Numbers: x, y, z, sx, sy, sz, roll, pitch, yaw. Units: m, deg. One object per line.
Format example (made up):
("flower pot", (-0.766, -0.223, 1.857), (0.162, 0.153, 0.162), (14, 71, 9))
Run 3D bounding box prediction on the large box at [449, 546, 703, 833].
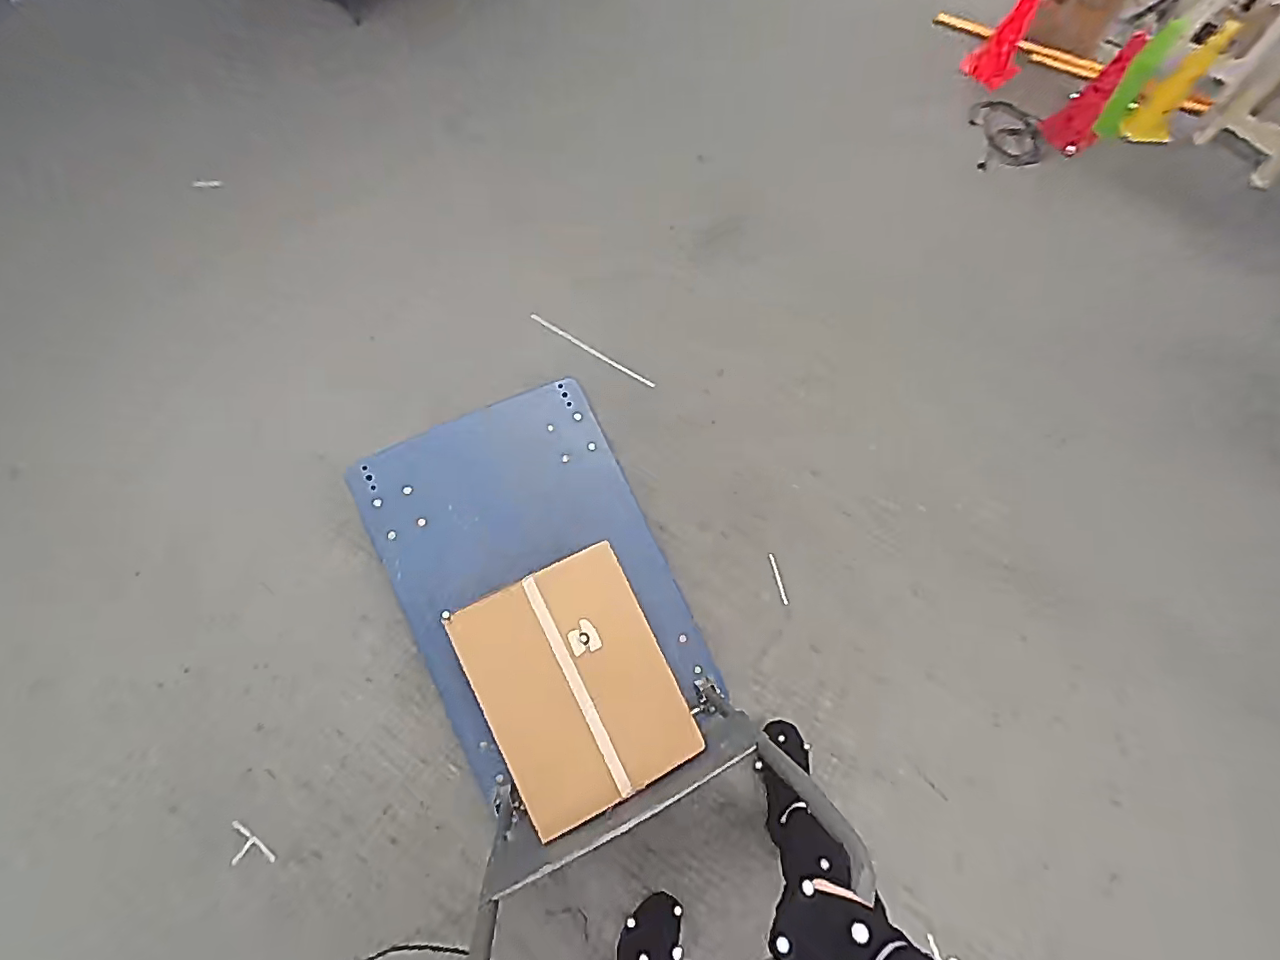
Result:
("large box", (-0.125, 0.381, 1.094), (0.320, 0.320, 0.408), (-26, 85, -10))
